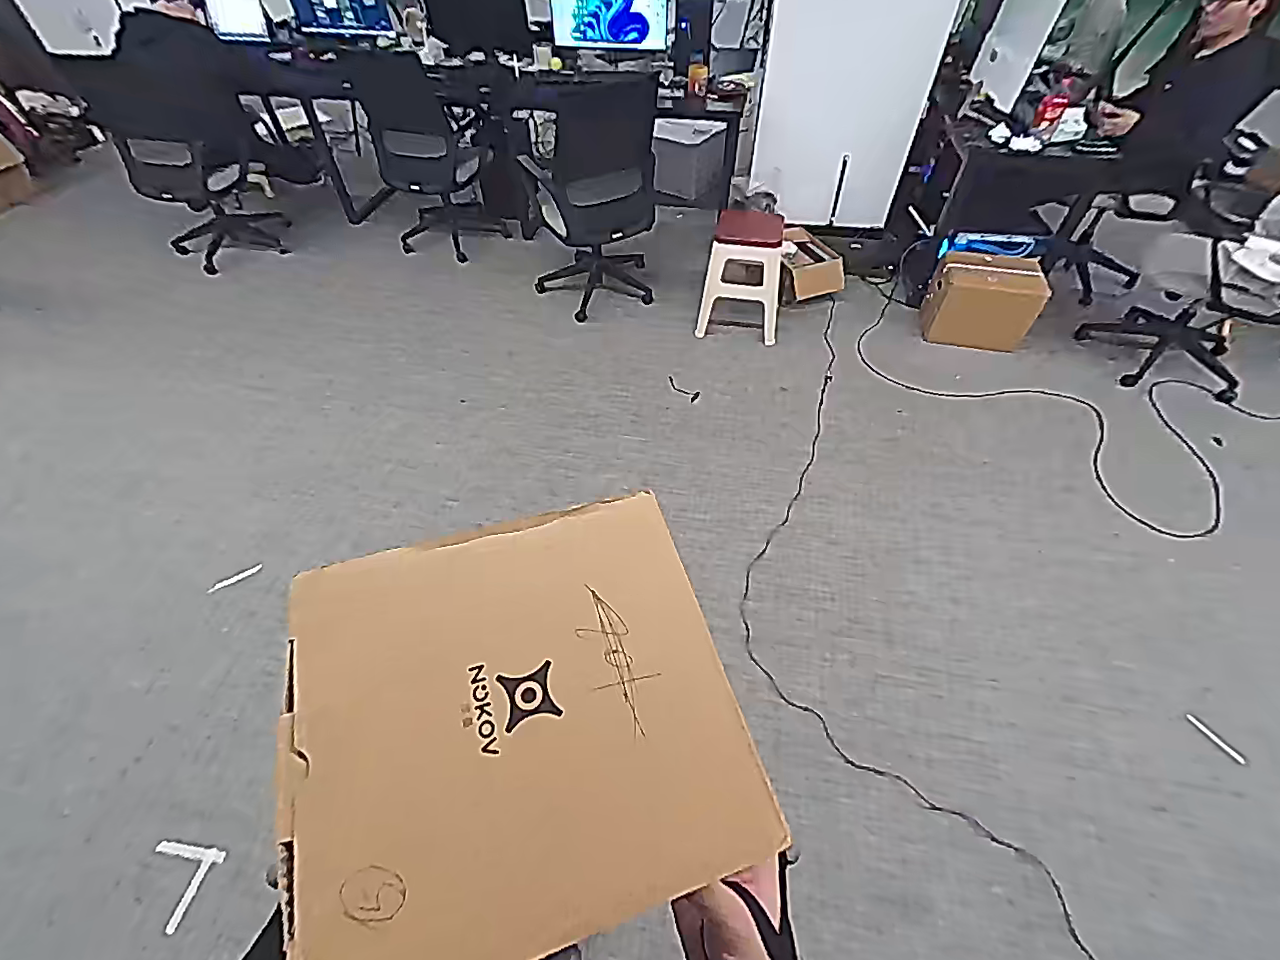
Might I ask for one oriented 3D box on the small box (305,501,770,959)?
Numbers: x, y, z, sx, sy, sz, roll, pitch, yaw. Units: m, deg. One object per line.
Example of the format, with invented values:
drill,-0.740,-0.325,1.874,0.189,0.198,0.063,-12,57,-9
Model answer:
small box,-0.059,0.139,0.304,0.179,0.176,0.168,-13,60,-15
